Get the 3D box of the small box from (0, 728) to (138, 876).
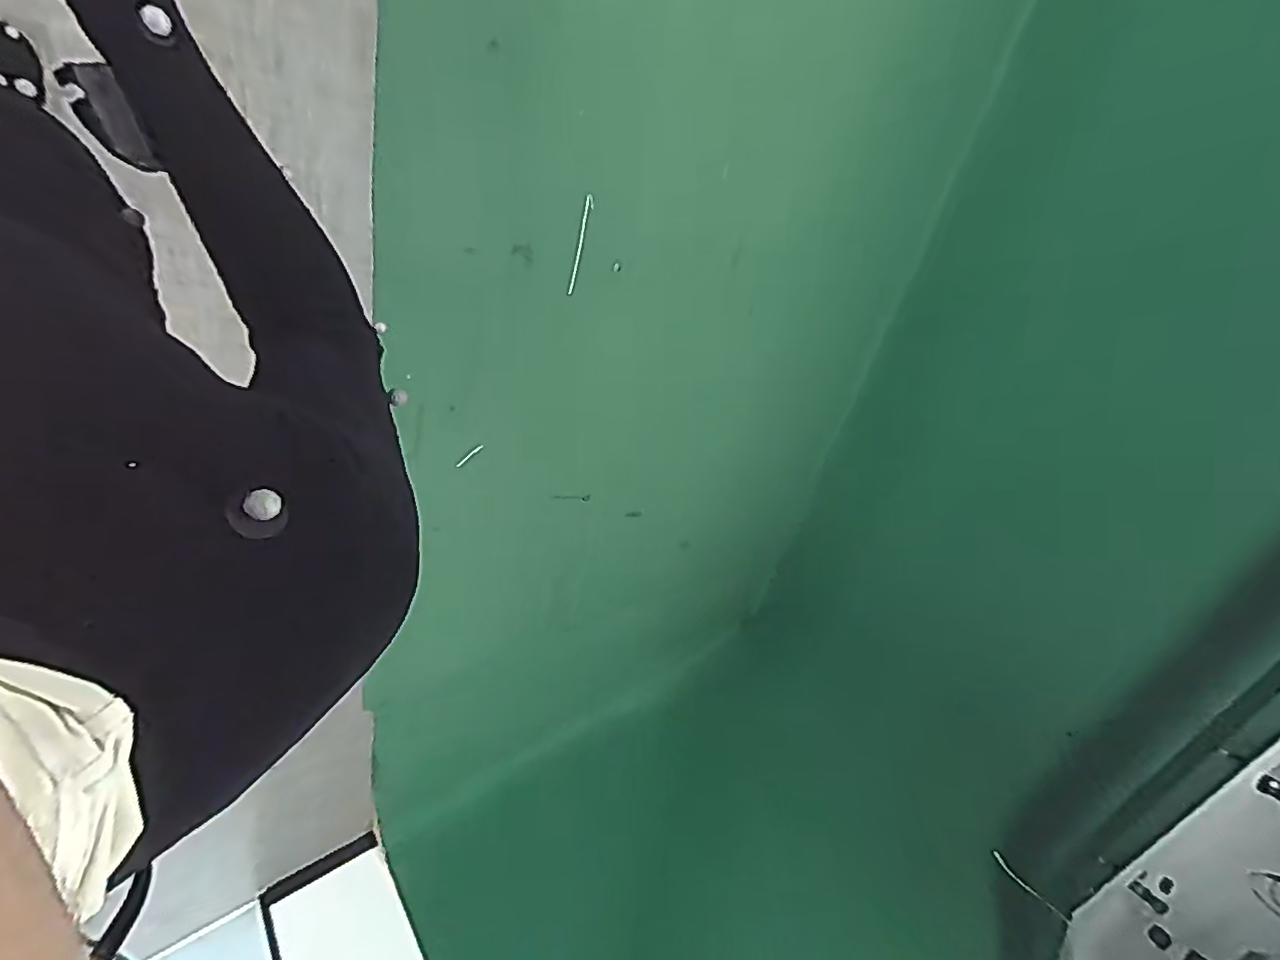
[{"bbox_3d":[-1.185,0.659,1.130,0.179,0.176,0.168,-9,126,-40],"label":"small box"}]
